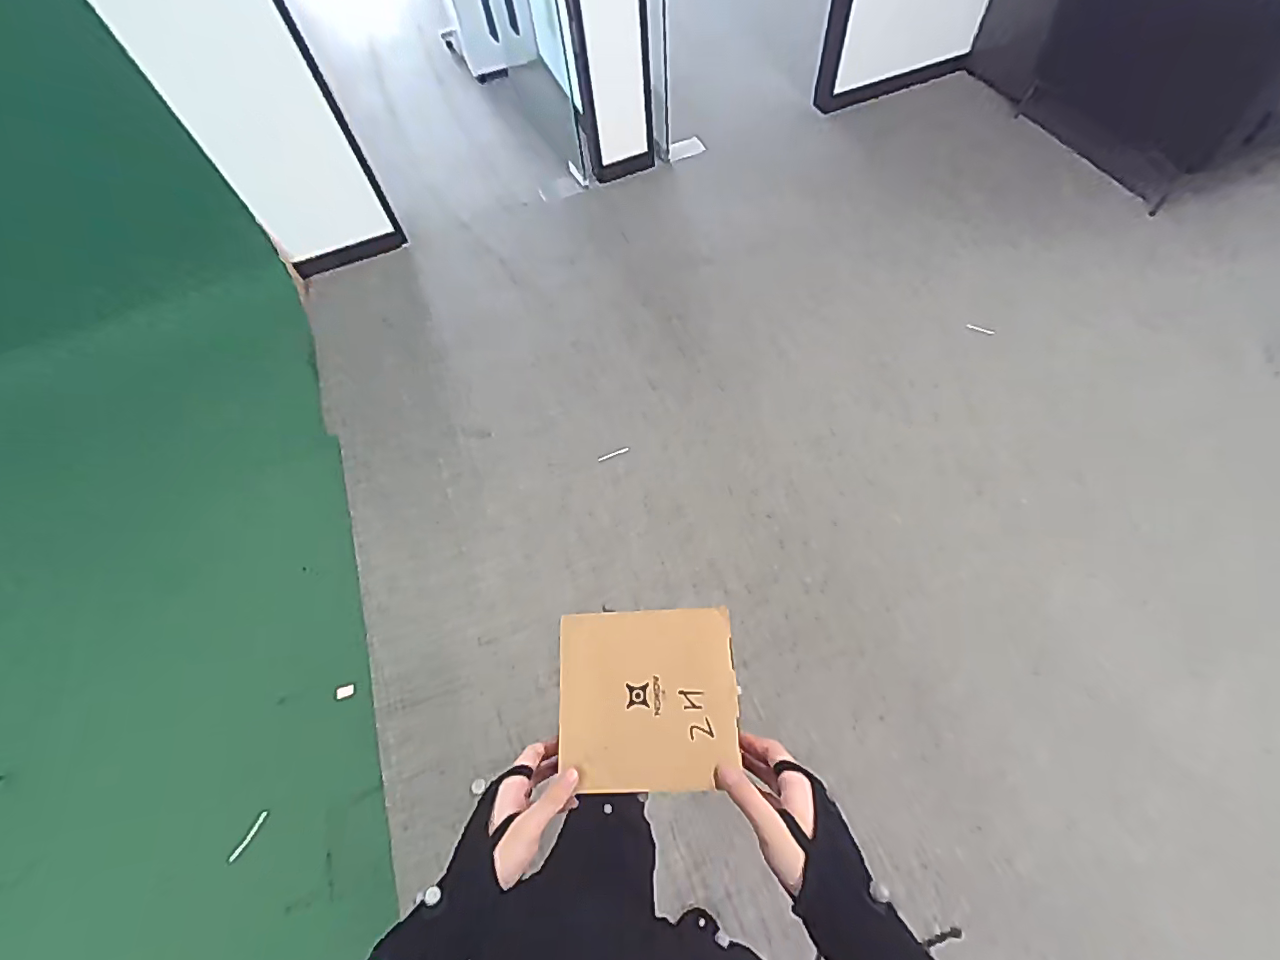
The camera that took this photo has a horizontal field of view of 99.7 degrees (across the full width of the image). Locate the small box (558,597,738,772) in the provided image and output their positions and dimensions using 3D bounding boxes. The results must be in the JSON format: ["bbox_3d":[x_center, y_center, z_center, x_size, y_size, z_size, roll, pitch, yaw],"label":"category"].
[{"bbox_3d":[0.013,0.229,0.615,0.179,0.176,0.168,-3,70,4],"label":"small box"}]
